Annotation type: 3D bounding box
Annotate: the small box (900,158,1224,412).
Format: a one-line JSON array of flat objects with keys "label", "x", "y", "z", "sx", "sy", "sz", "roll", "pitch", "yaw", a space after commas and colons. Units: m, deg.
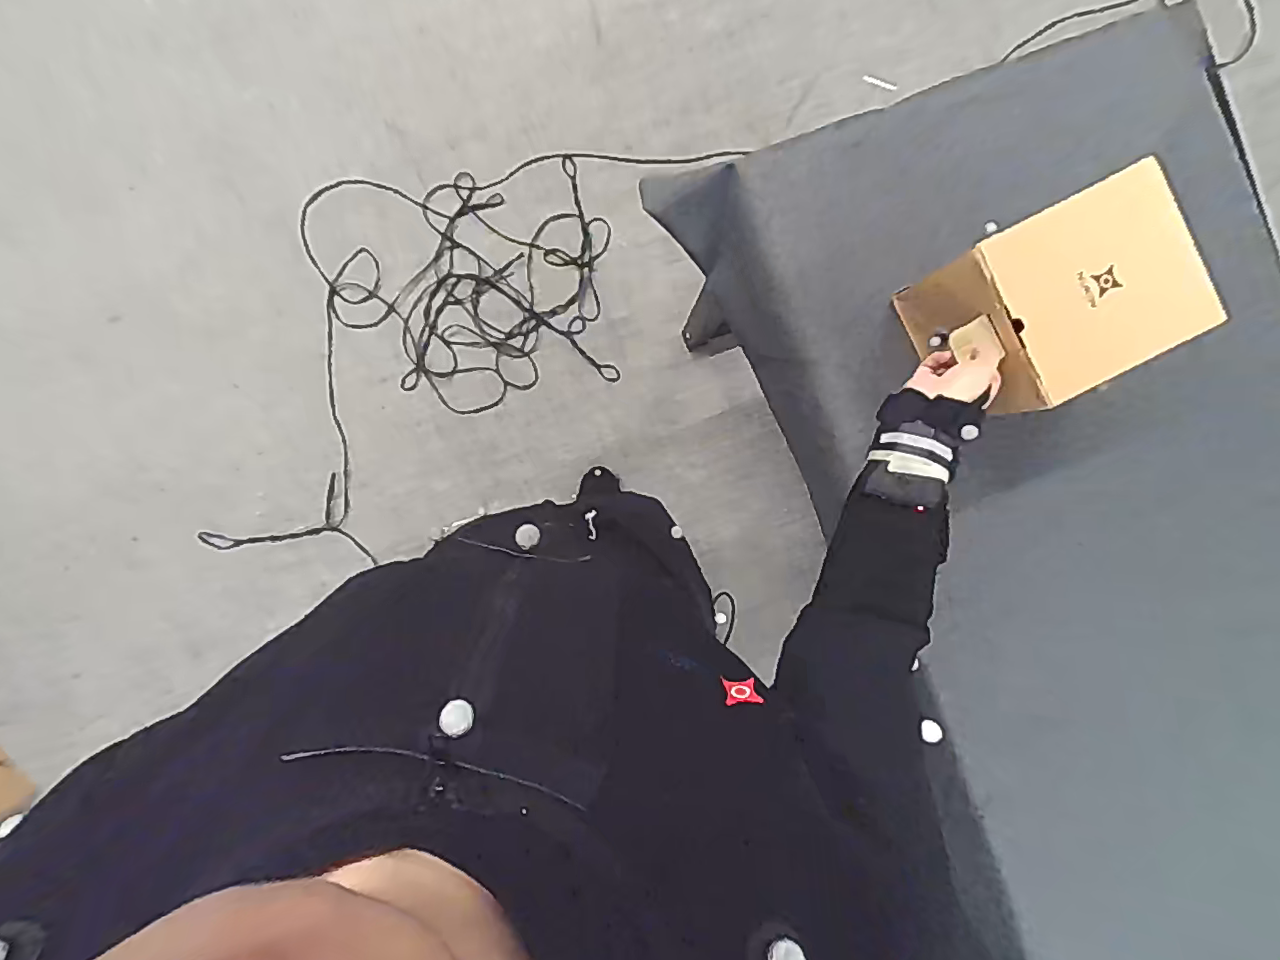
[{"label": "small box", "x": 0.416, "y": -0.183, "z": 0.566, "sx": 0.179, "sy": 0.176, "sz": 0.168, "roll": -27, "pitch": 93, "yaw": 3}]
